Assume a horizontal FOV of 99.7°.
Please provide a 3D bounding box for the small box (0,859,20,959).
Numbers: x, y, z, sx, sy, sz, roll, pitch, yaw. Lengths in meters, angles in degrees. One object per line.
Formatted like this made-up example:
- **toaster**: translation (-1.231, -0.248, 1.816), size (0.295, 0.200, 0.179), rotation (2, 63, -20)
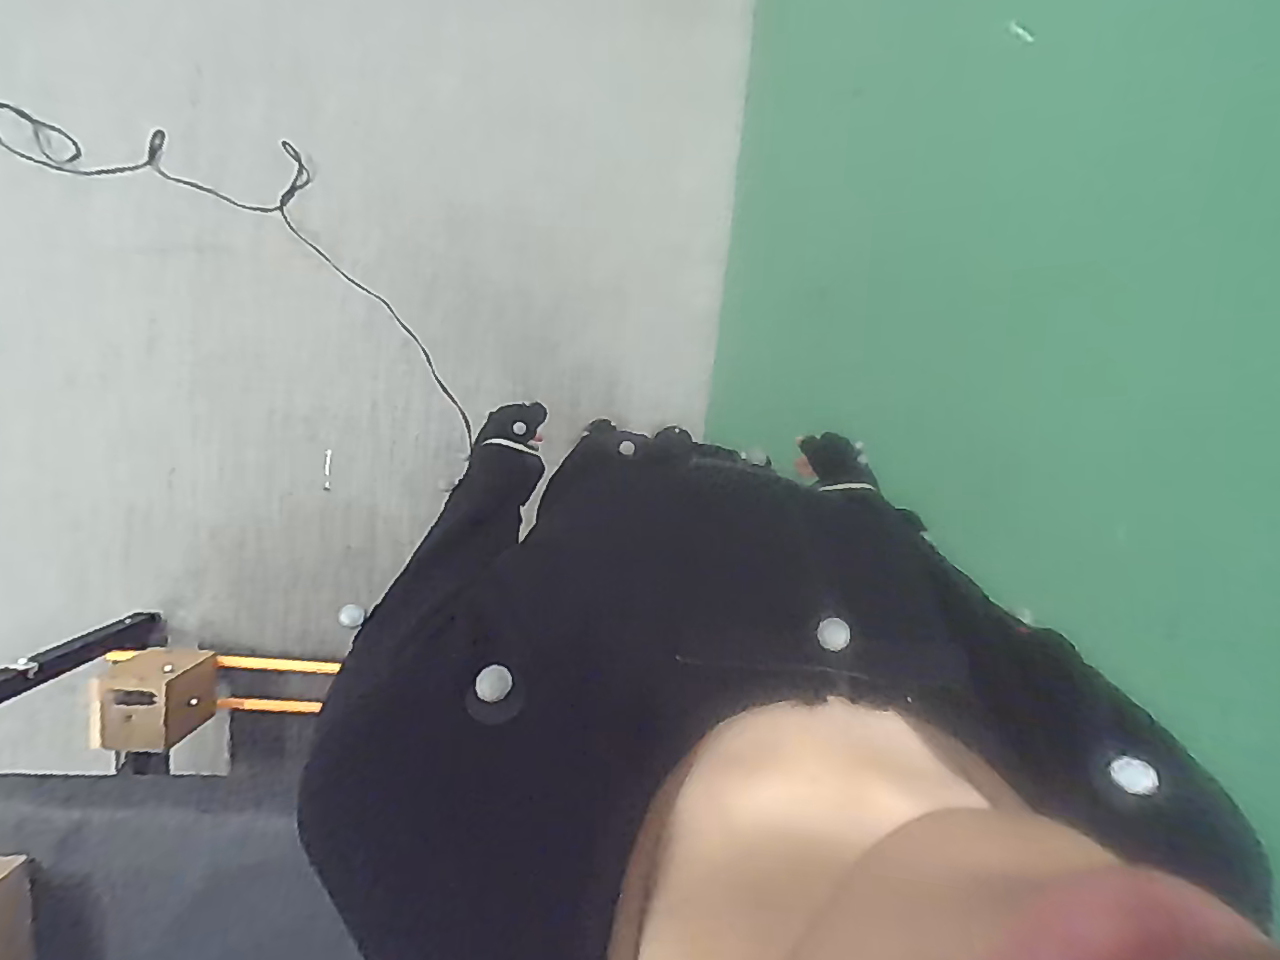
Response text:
- **small box**: translation (-0.955, 0.619, 0.682), size (0.168, 0.176, 0.179), rotation (4, 97, -4)
